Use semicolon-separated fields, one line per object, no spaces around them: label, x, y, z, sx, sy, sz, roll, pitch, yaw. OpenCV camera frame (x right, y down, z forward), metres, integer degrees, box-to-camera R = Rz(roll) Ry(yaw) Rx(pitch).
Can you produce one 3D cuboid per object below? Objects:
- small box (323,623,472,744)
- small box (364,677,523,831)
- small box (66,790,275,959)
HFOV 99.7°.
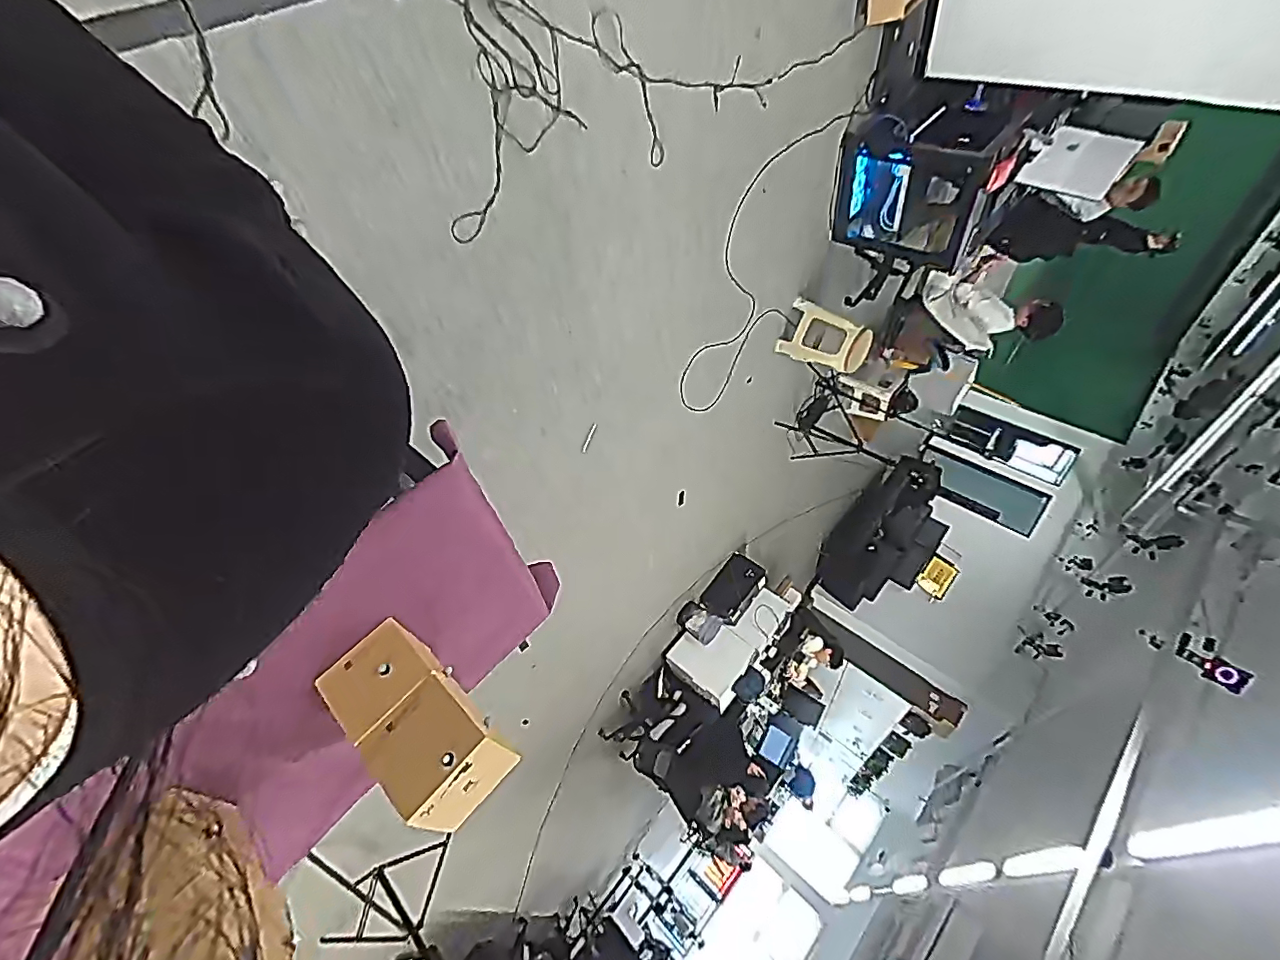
small box;-0.465;0.403;1.041;0.168;0.176;0.179;-44;147;-22
small box;-0.345;0.484;0.963;0.168;0.176;0.179;-45;148;-21
small box;-0.740;0.634;0.856;0.179;0.176;0.168;-41;145;-24
